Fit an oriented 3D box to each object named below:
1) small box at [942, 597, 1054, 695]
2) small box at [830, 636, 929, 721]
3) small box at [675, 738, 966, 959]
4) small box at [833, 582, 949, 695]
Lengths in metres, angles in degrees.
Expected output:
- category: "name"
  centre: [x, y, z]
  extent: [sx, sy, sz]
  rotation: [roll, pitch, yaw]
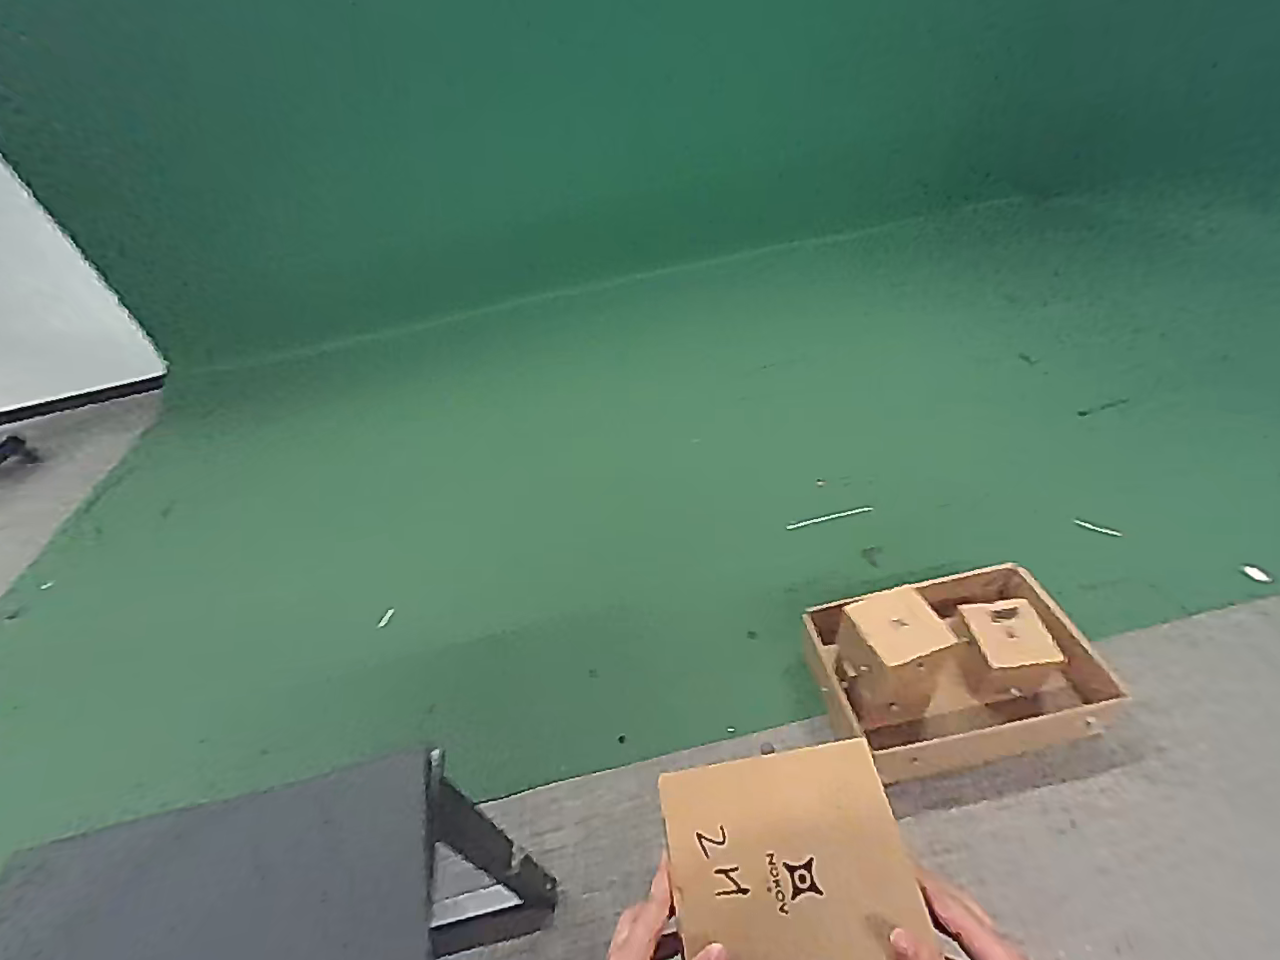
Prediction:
- category: "small box"
  centre: [0.900, 0.426, 1.388]
  extent: [0.168, 0.176, 0.179]
  rotation: [-8, 44, 4]
- category: "small box"
  centre: [0.597, 0.491, 1.376]
  extent: [0.179, 0.176, 0.168]
  rotation: [-11, 43, 0]
- category: "small box"
  centre: [0.131, 0.330, 0.450]
  extent: [0.179, 0.176, 0.168]
  rotation: [-10, 52, 2]
- category: "small box"
  centre: [0.572, 0.373, 1.263]
  extent: [0.179, 0.176, 0.168]
  rotation: [-16, 44, -10]
